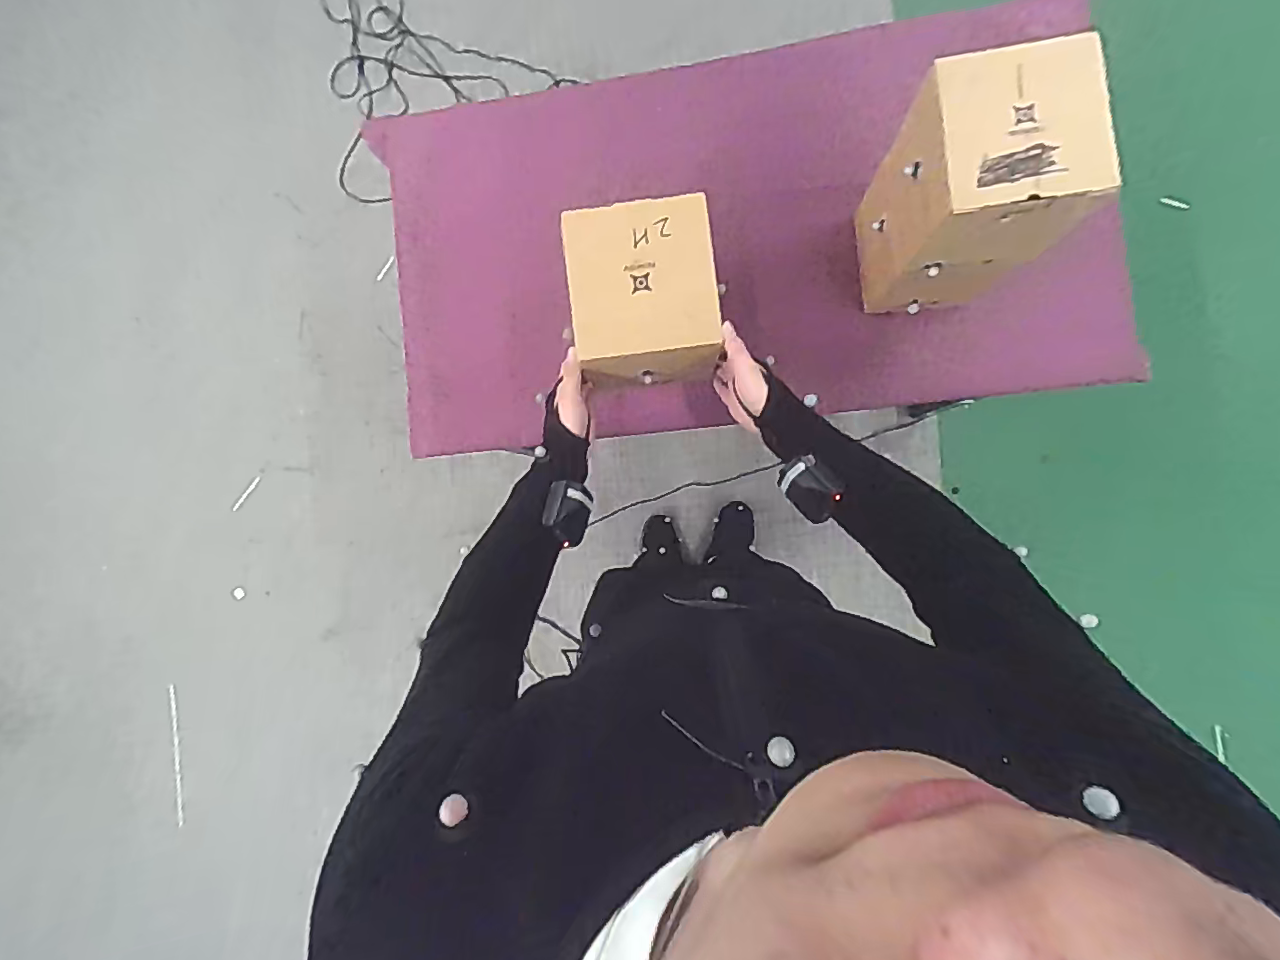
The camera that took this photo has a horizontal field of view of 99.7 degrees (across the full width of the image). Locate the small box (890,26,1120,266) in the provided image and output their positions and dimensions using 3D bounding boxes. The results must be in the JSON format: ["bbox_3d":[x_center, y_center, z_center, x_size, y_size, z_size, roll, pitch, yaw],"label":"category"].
[{"bbox_3d":[0.412,-0.373,0.642,0.168,0.176,0.179,-4,86,8],"label":"small box"}]

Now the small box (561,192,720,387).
[{"bbox_3d":[0.005,-0.219,0.673,0.168,0.176,0.179,-6,86,2],"label":"small box"}]

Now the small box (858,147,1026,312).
[{"bbox_3d":[0.434,-0.370,0.805,0.168,0.176,0.179,-4,88,8],"label":"small box"}]
